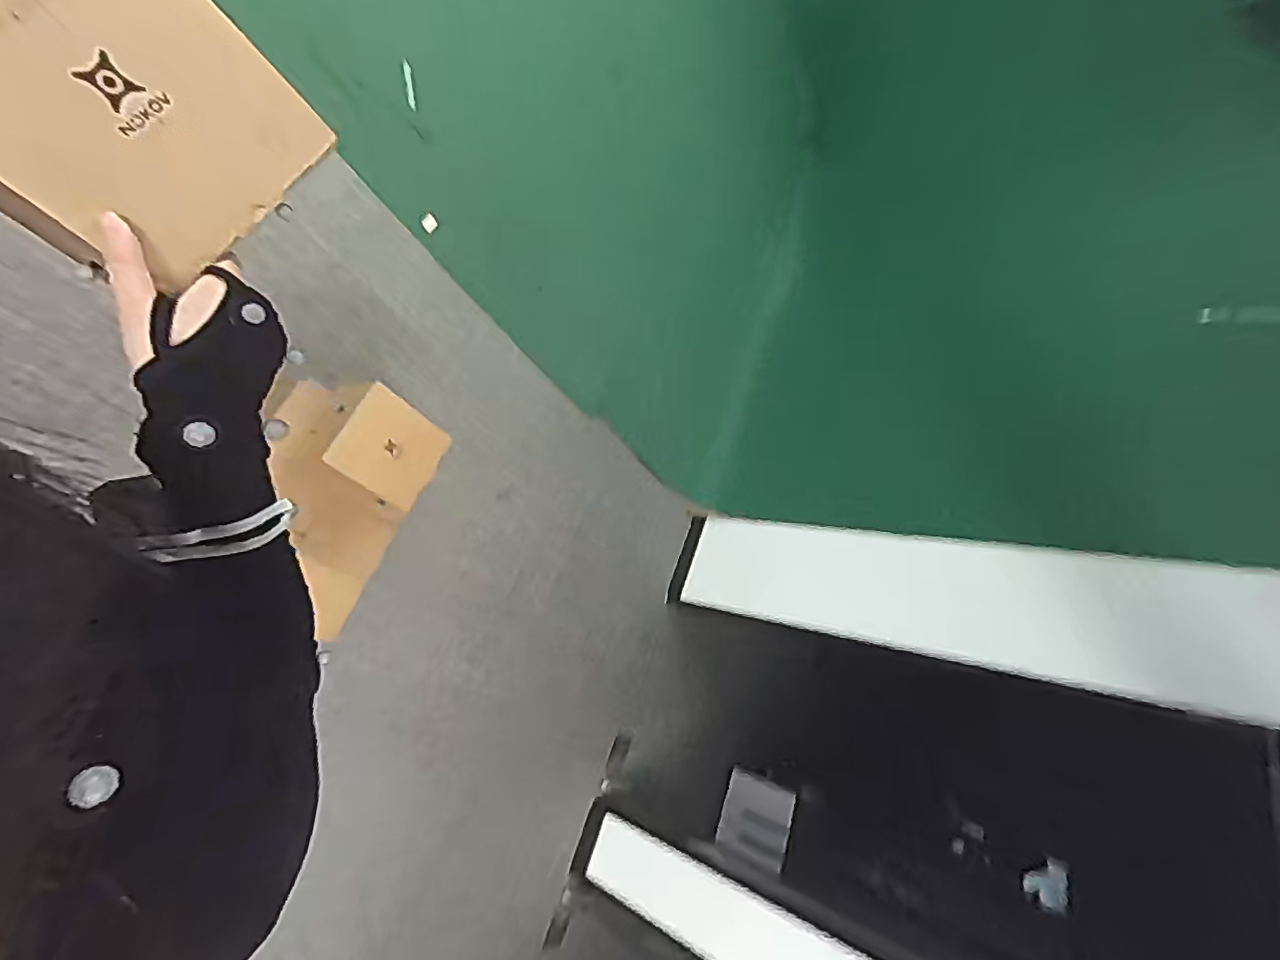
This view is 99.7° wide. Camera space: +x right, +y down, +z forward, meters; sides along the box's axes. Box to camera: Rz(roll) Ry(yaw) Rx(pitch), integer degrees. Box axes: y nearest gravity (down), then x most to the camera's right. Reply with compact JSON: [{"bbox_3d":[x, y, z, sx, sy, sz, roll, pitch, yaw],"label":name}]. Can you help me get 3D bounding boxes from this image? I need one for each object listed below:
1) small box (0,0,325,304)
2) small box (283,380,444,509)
[{"bbox_3d":[-0.366,-0.241,0.366,0.179,0.176,0.168,47,67,-42],"label":"small box"},{"bbox_3d":[-0.512,-0.062,1.002,0.179,0.176,0.168,47,58,-43],"label":"small box"}]
